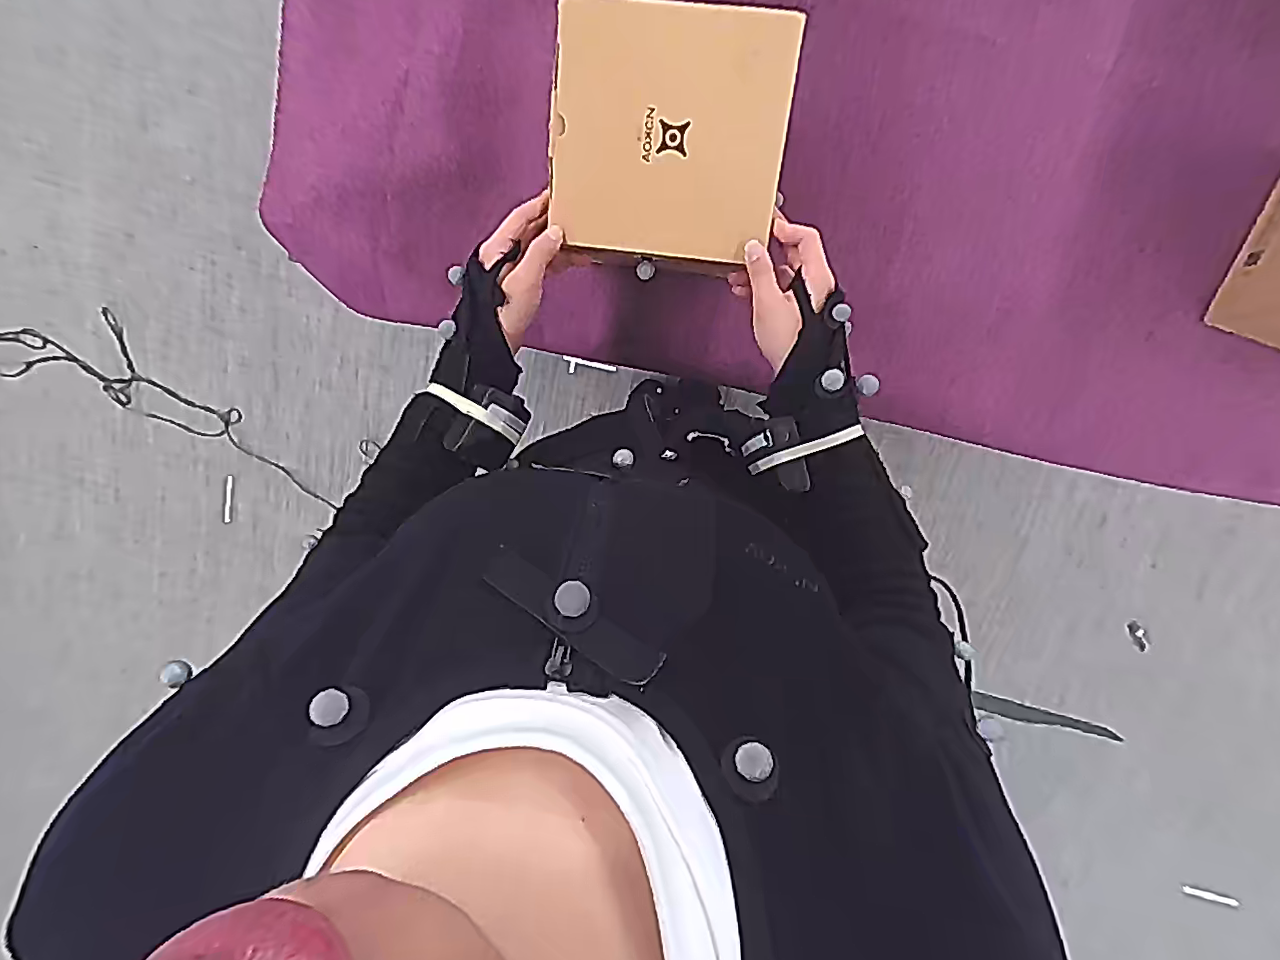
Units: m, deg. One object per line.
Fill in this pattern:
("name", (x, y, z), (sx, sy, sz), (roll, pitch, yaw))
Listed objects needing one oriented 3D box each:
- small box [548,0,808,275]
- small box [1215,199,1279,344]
("small box", (0.028, -0.278, 0.474), (0.179, 0.176, 0.168), (8, 108, 3))
("small box", (0.669, -0.191, 0.451), (0.179, 0.176, 0.168), (19, 102, 1))
